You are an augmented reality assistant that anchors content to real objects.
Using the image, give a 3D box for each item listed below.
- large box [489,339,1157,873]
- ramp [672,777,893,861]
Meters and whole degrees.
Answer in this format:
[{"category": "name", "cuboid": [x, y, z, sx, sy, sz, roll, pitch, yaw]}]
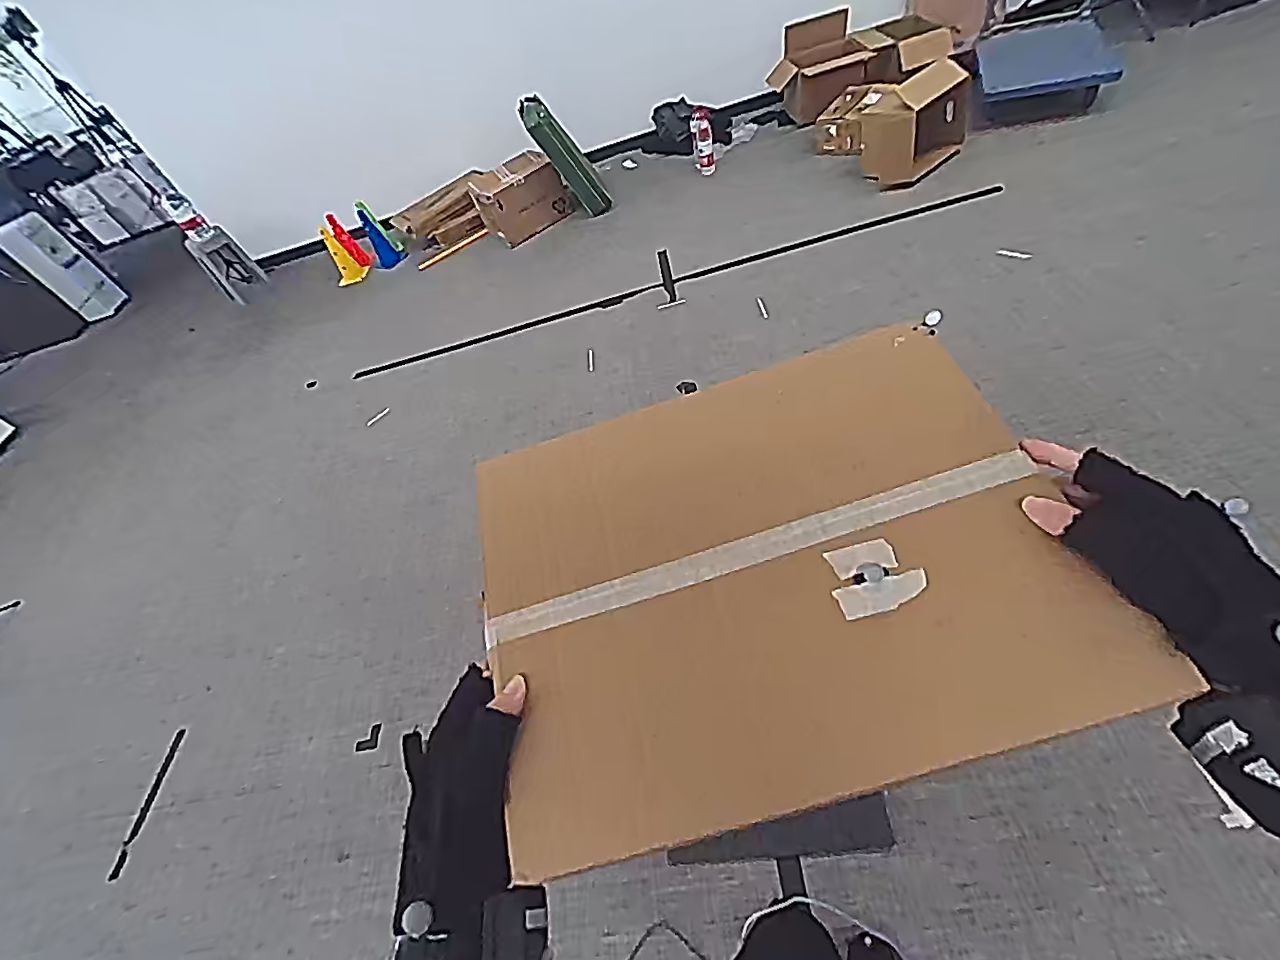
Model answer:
[{"category": "large box", "cuboid": [0.114, 0.134, 0.530, 0.408, 0.320, 0.320, -18, 58, 3]}, {"category": "ramp", "cuboid": [0.265, 0.389, 1.435, 0.509, 0.206, 0.991, -13, 49, 8]}]
